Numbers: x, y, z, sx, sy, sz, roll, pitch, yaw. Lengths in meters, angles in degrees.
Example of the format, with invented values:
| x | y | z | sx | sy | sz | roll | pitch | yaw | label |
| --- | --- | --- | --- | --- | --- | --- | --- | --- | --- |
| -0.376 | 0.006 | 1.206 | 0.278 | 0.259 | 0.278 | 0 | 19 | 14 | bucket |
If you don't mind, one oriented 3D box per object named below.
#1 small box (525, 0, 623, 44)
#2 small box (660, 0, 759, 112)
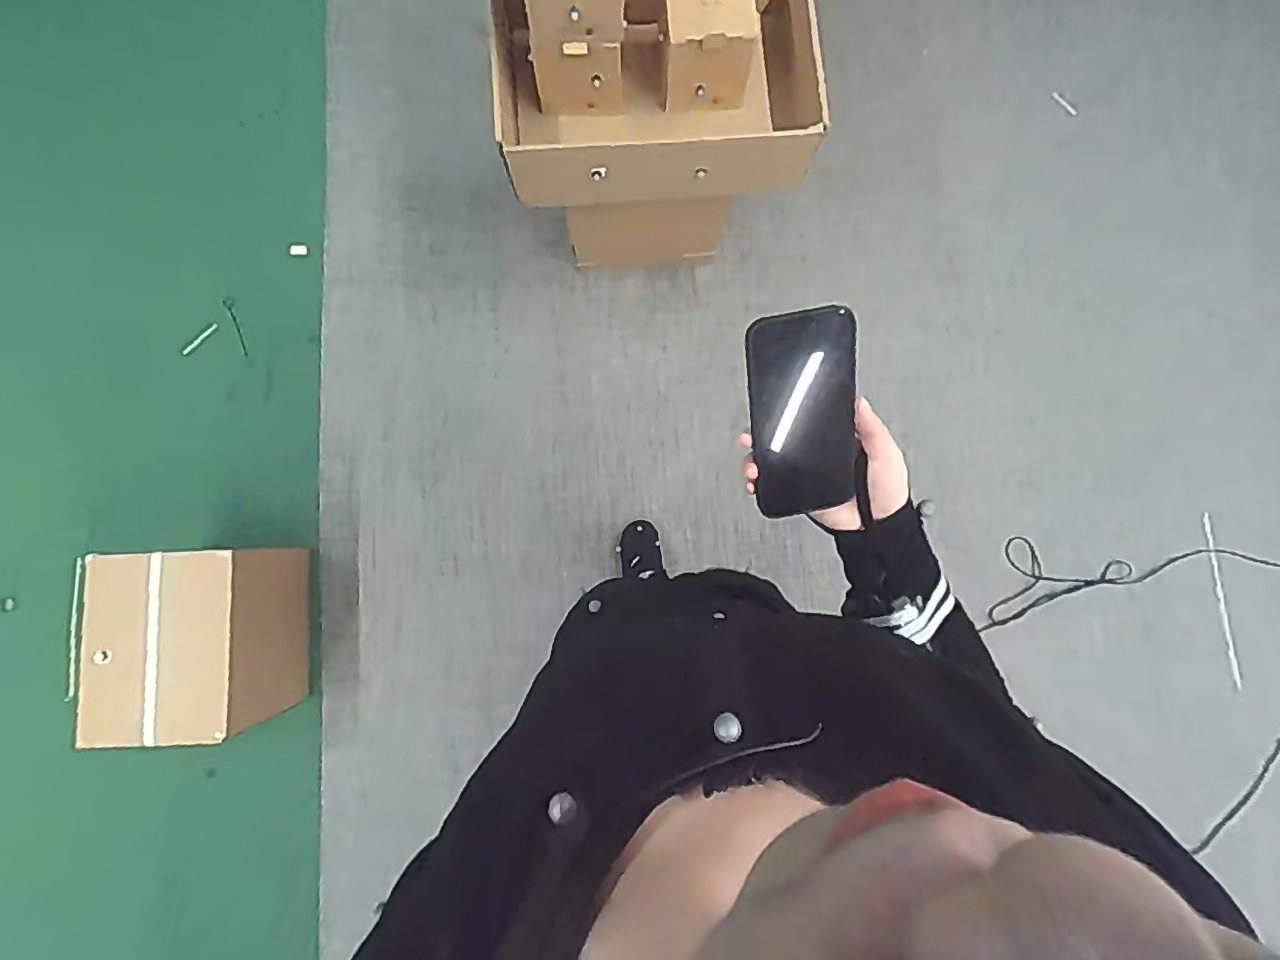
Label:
| x | y | z | sx | sy | sz | roll | pitch | yaw | label |
| --- | --- | --- | --- | --- | --- | --- | --- | --- | --- |
| -0.114 | -0.881 | 0.902 | 0.168 | 0.176 | 0.179 | -4 | 84 | -2 | small box |
| 0.130 | -0.874 | 1.071 | 0.168 | 0.176 | 0.179 | -4 | 84 | 0 | small box |
